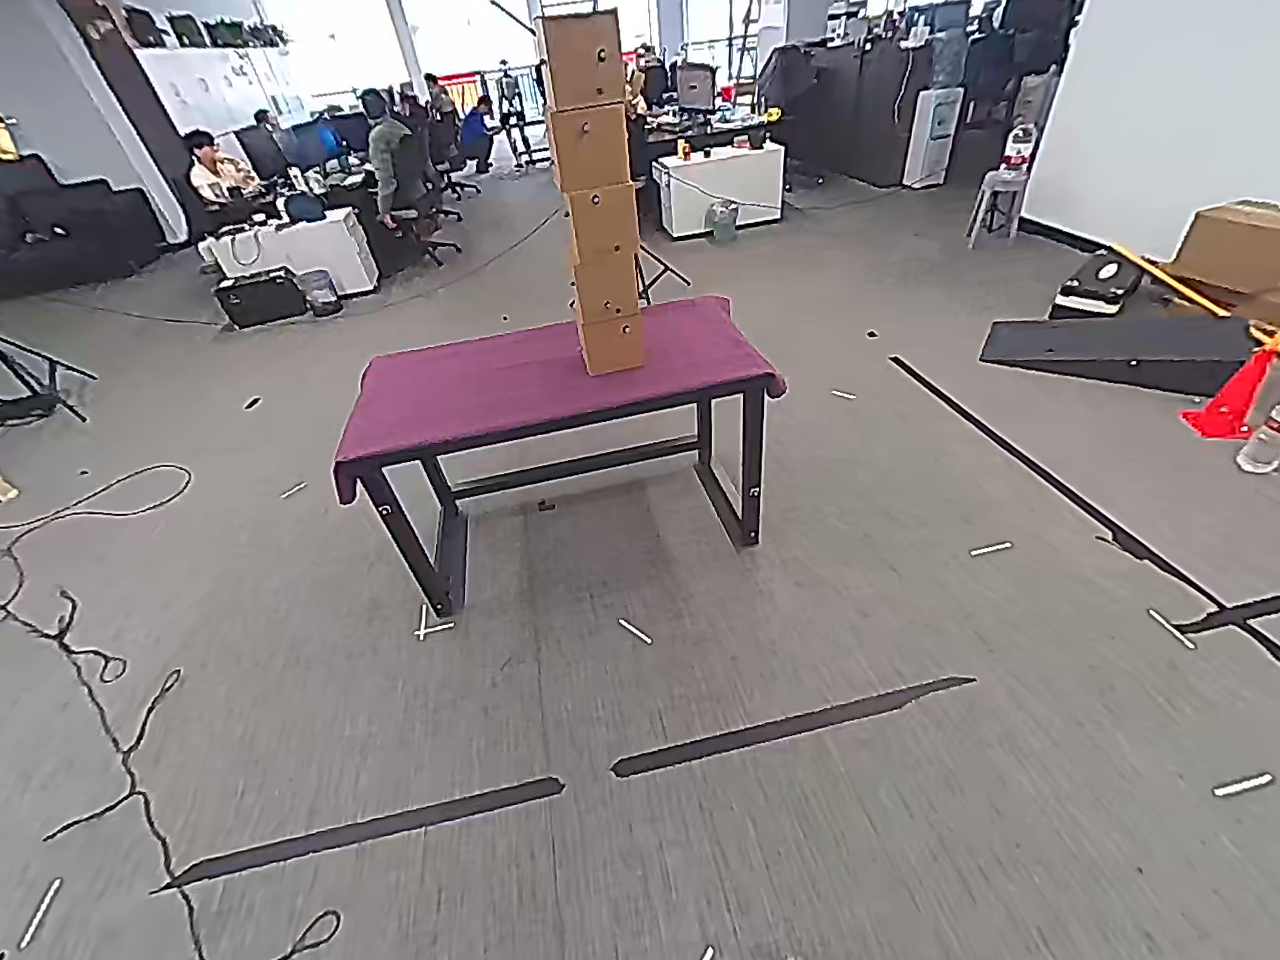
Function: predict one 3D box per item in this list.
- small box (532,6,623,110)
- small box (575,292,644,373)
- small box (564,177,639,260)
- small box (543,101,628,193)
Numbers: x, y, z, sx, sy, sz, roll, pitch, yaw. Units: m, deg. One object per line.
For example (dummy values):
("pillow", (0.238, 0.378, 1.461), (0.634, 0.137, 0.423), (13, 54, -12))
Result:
("small box", (-0.140, -0.955, 1.232), (0.168, 0.176, 0.179), (-14, 39, -9))
("small box", (-0.090, -0.444, 1.636), (0.179, 0.176, 0.168), (-13, 39, -6))
("small box", (-0.105, -0.698, 1.429), (0.168, 0.176, 0.179), (-13, 40, -6))
("small box", (-0.131, -0.827, 1.333), (0.179, 0.176, 0.168), (-14, 40, -7))
